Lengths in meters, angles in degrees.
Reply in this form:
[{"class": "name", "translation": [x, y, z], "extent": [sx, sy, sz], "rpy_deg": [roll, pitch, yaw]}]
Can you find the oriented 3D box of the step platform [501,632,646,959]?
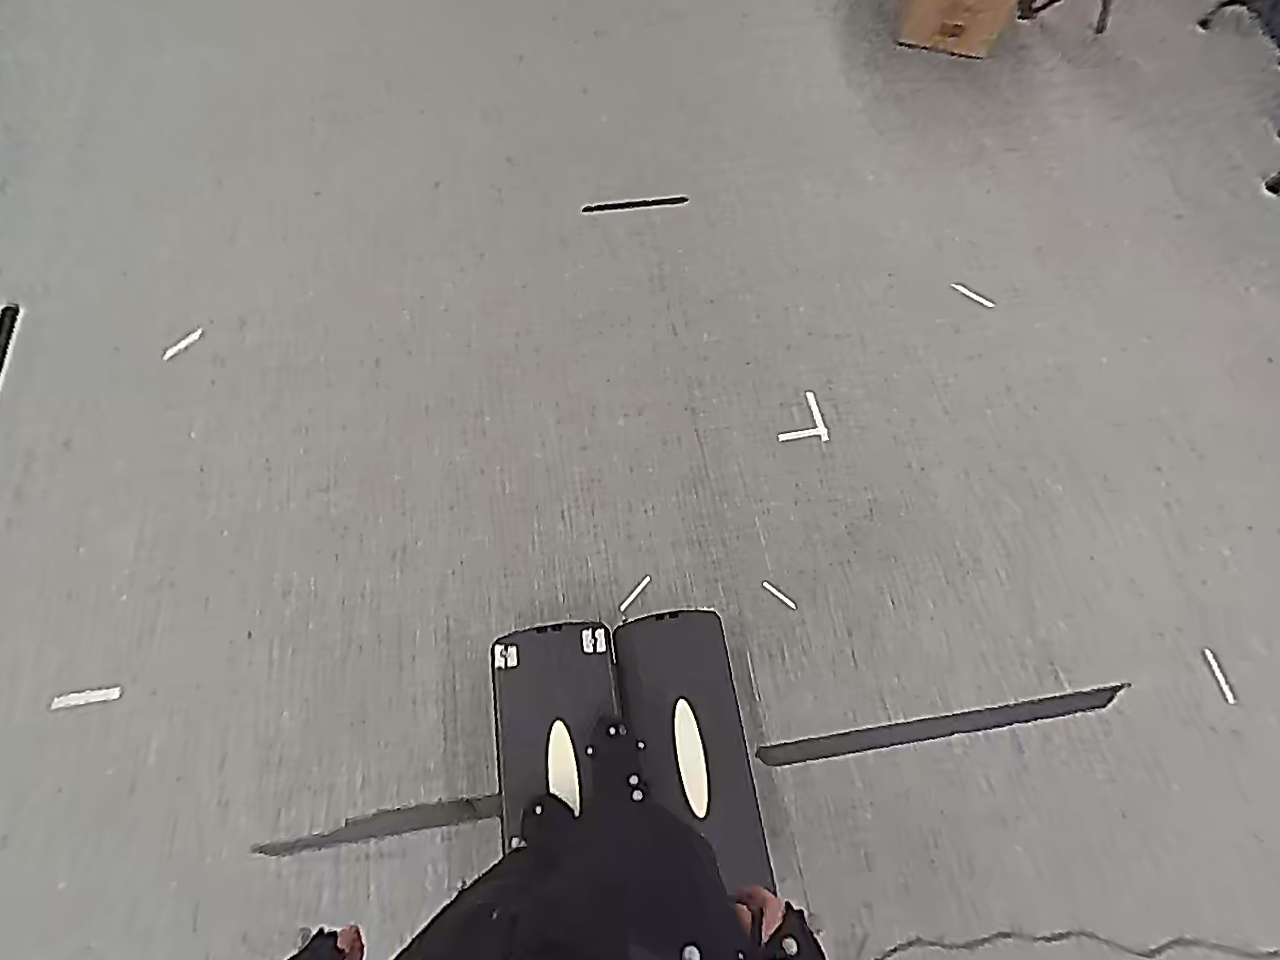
[{"class": "step platform", "translation": [-0.153, 0.695, 1.210], "extent": [0.286, 0.204, 0.684], "rpy_deg": [-3, 66, -5]}]
